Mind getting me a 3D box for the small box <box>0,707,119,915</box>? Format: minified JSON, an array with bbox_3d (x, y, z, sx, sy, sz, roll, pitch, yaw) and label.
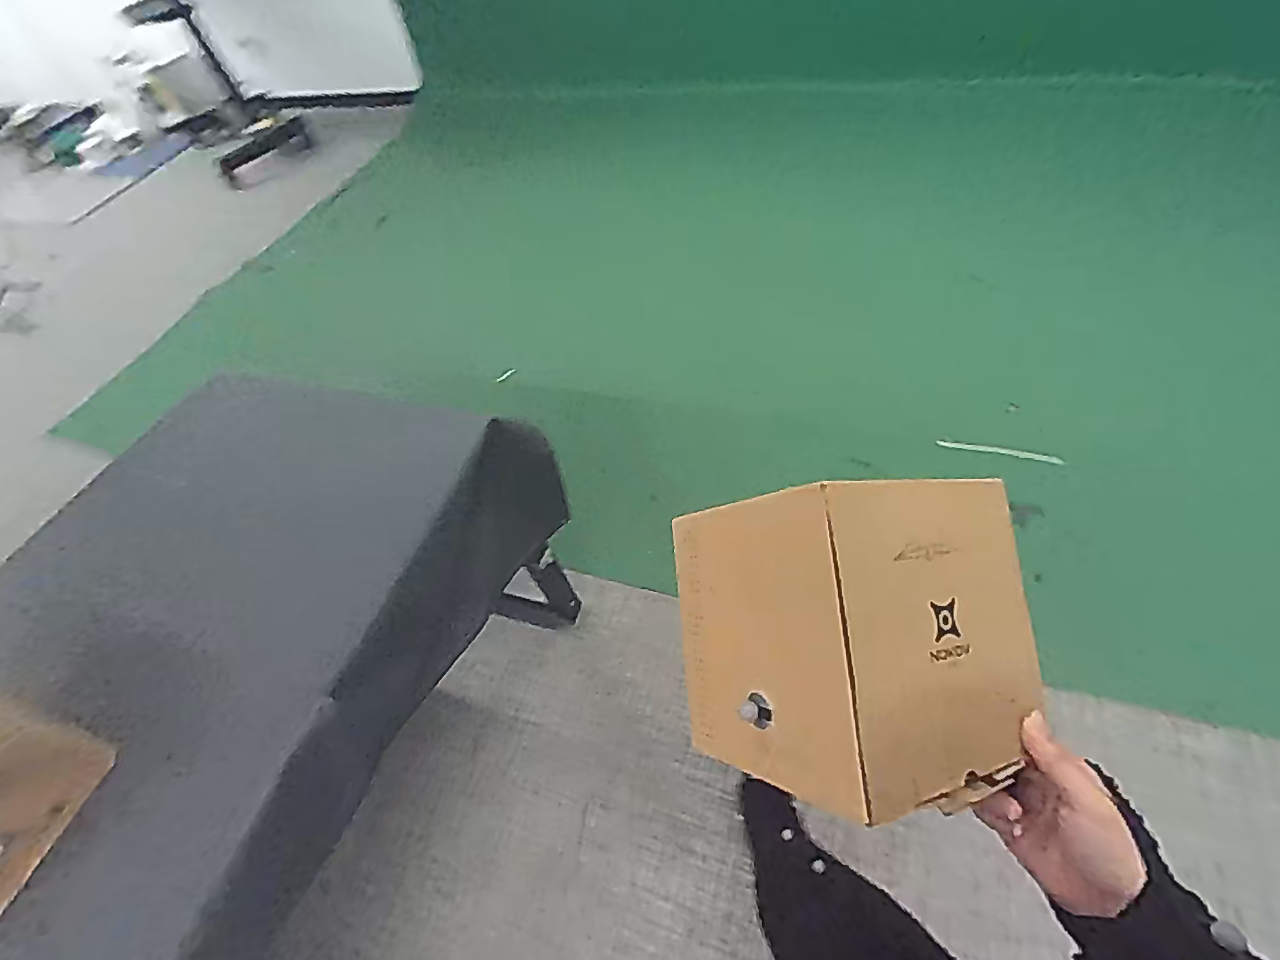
[{"bbox_3d":[-0.705,0.320,0.537,0.179,0.176,0.168,10,57,16],"label":"small box"}]
